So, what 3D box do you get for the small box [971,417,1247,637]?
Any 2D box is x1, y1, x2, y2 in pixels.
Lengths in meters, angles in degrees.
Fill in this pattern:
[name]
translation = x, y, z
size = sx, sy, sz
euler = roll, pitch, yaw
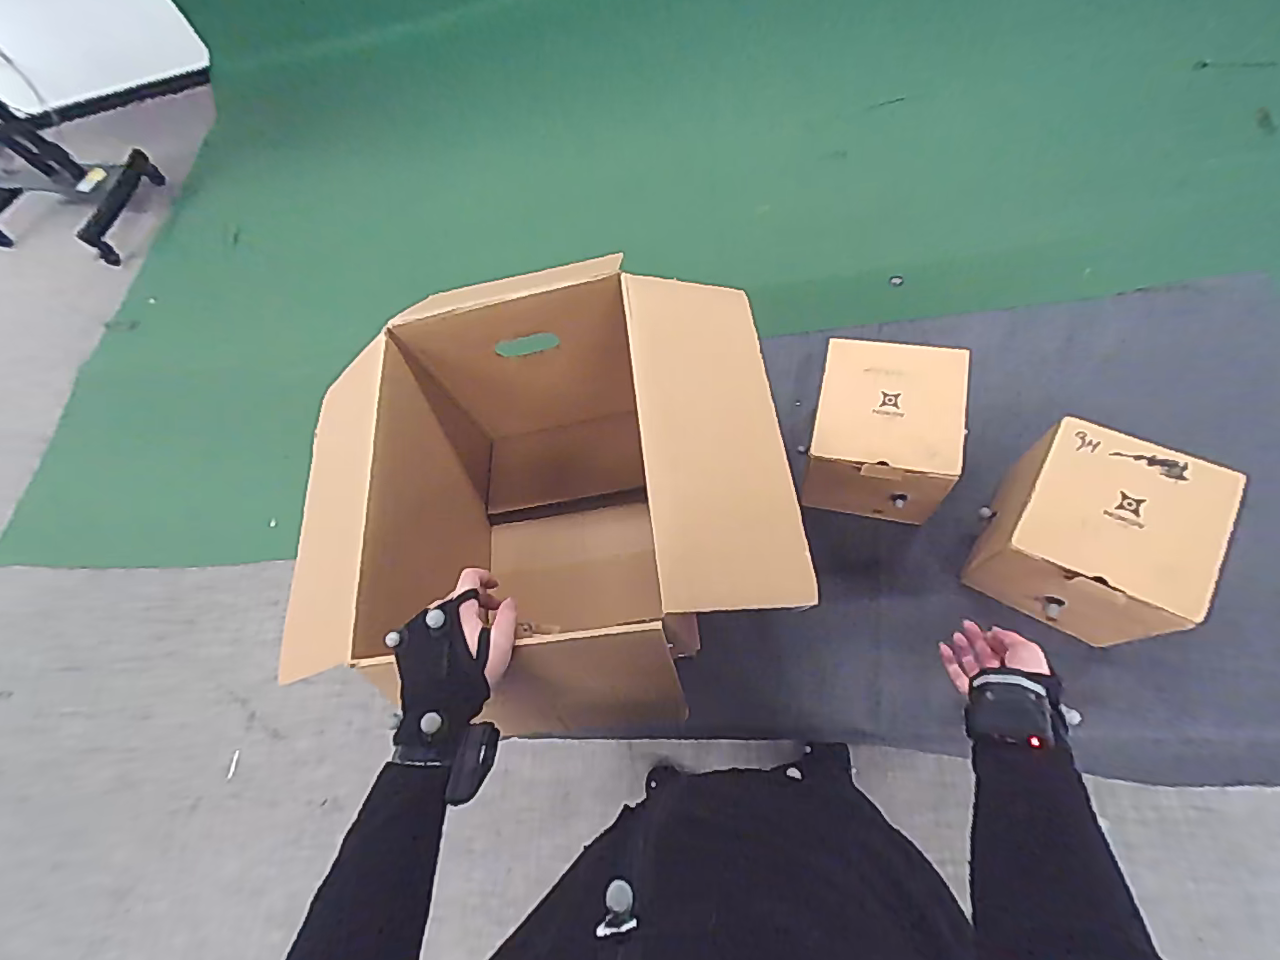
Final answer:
[small box]
translation = 0.520, 0.064, 0.631
size = 0.168, 0.176, 0.179
euler = 28, 77, 22
